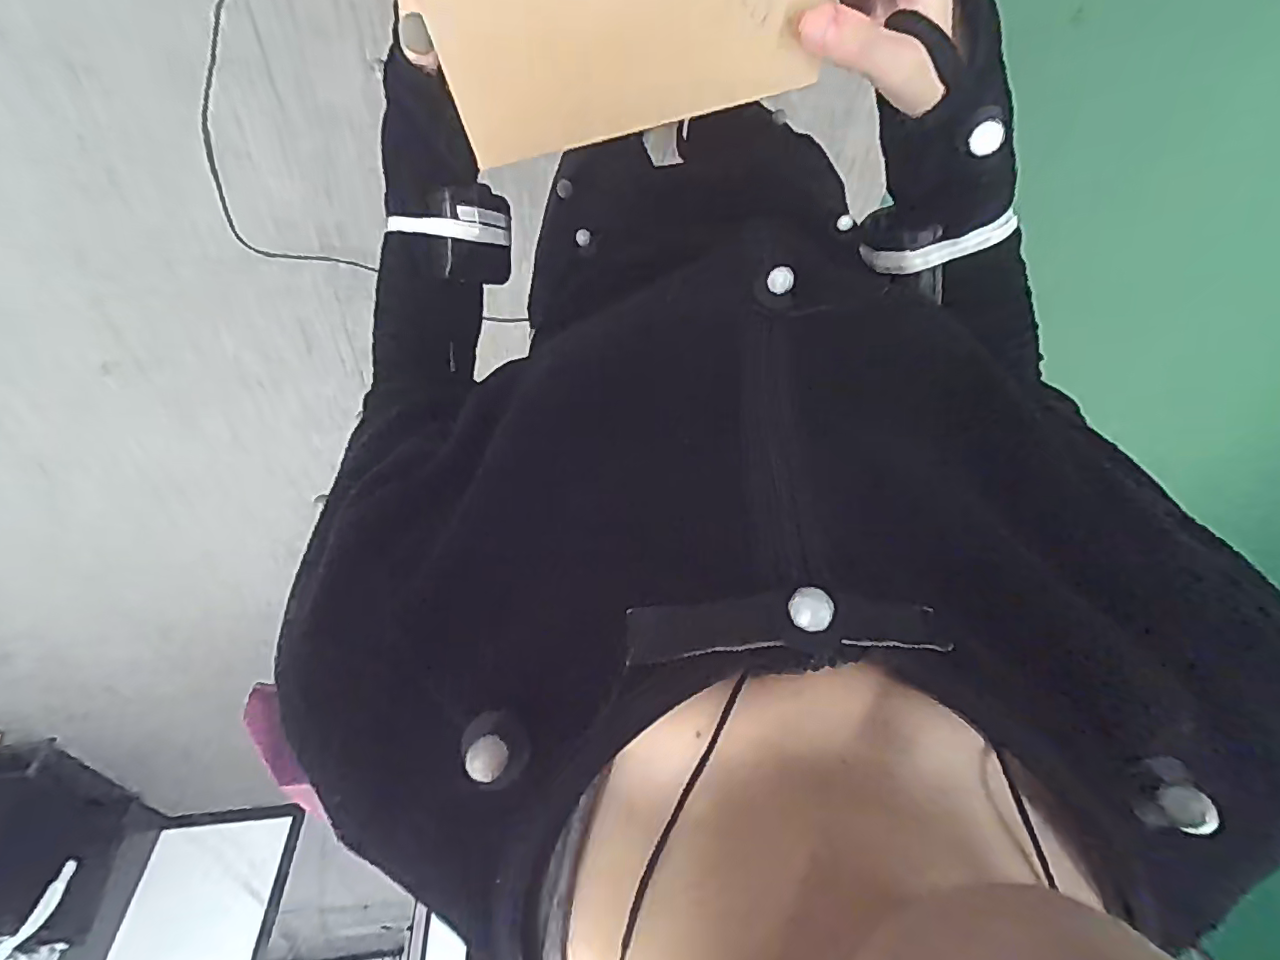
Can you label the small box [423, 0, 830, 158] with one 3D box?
[{"bbox_3d":[-0.023,-0.279,0.230,0.168,0.176,0.179,-15,141,-1],"label":"small box"}]
